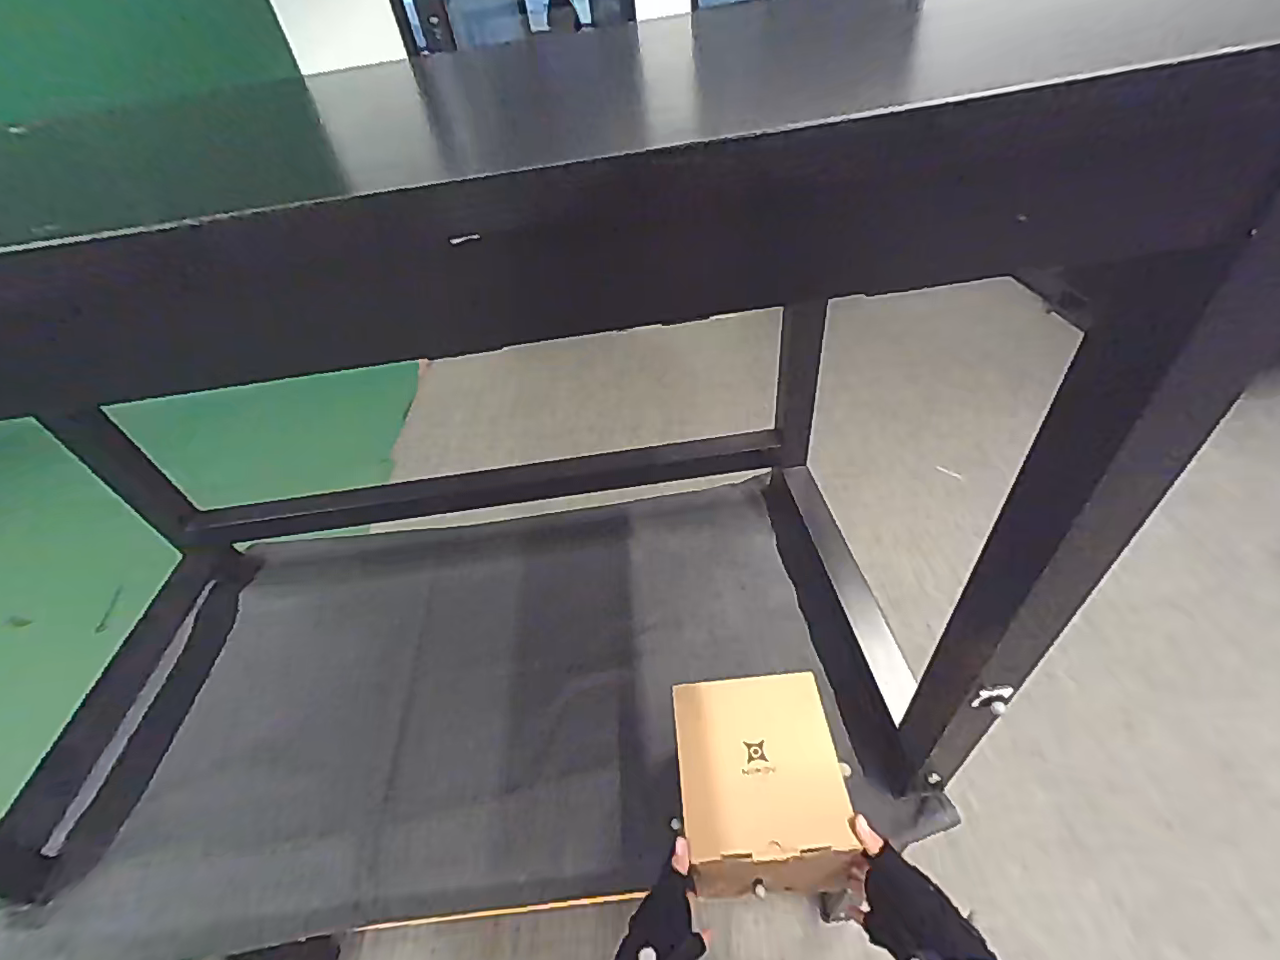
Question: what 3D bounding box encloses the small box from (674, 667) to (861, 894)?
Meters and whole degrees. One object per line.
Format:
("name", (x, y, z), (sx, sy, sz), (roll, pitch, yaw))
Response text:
("small box", (0.131, 0.341, 0.617), (0.168, 0.176, 0.179), (-8, 42, 3))
